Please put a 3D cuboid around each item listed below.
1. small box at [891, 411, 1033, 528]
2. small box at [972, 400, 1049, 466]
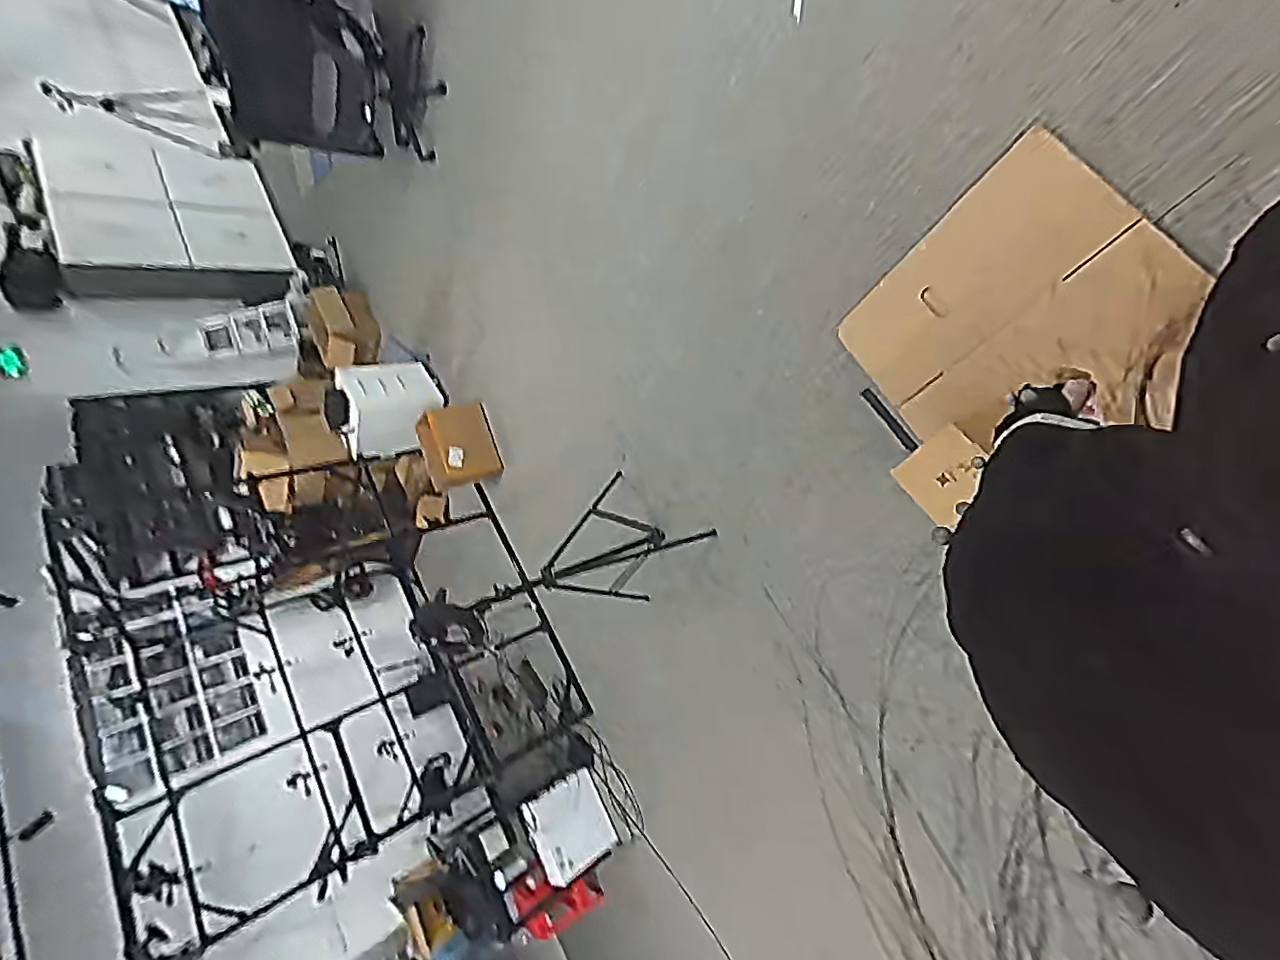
[{"bbox_3d":[0.691,-0.026,1.160,0.168,0.176,0.179,54,137,20],"label":"small box"},{"bbox_3d":[0.812,-0.067,1.264,0.168,0.176,0.179,54,136,22],"label":"small box"}]
